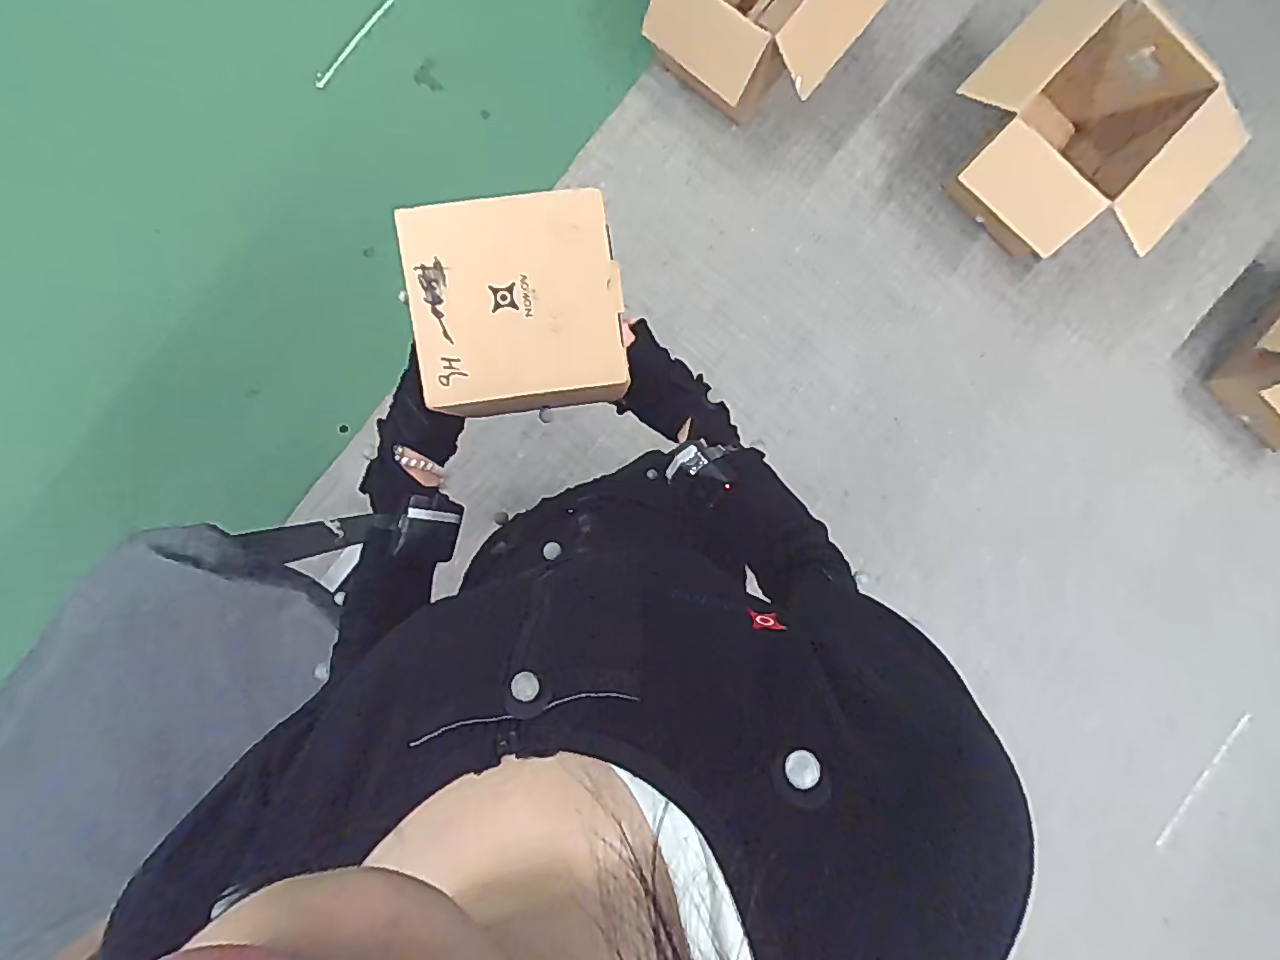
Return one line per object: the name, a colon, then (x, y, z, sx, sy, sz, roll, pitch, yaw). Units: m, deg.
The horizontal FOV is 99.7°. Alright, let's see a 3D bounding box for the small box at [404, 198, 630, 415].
small box: (-0.110, -0.158, 0.541, 0.179, 0.176, 0.168, -7, 93, -4)
